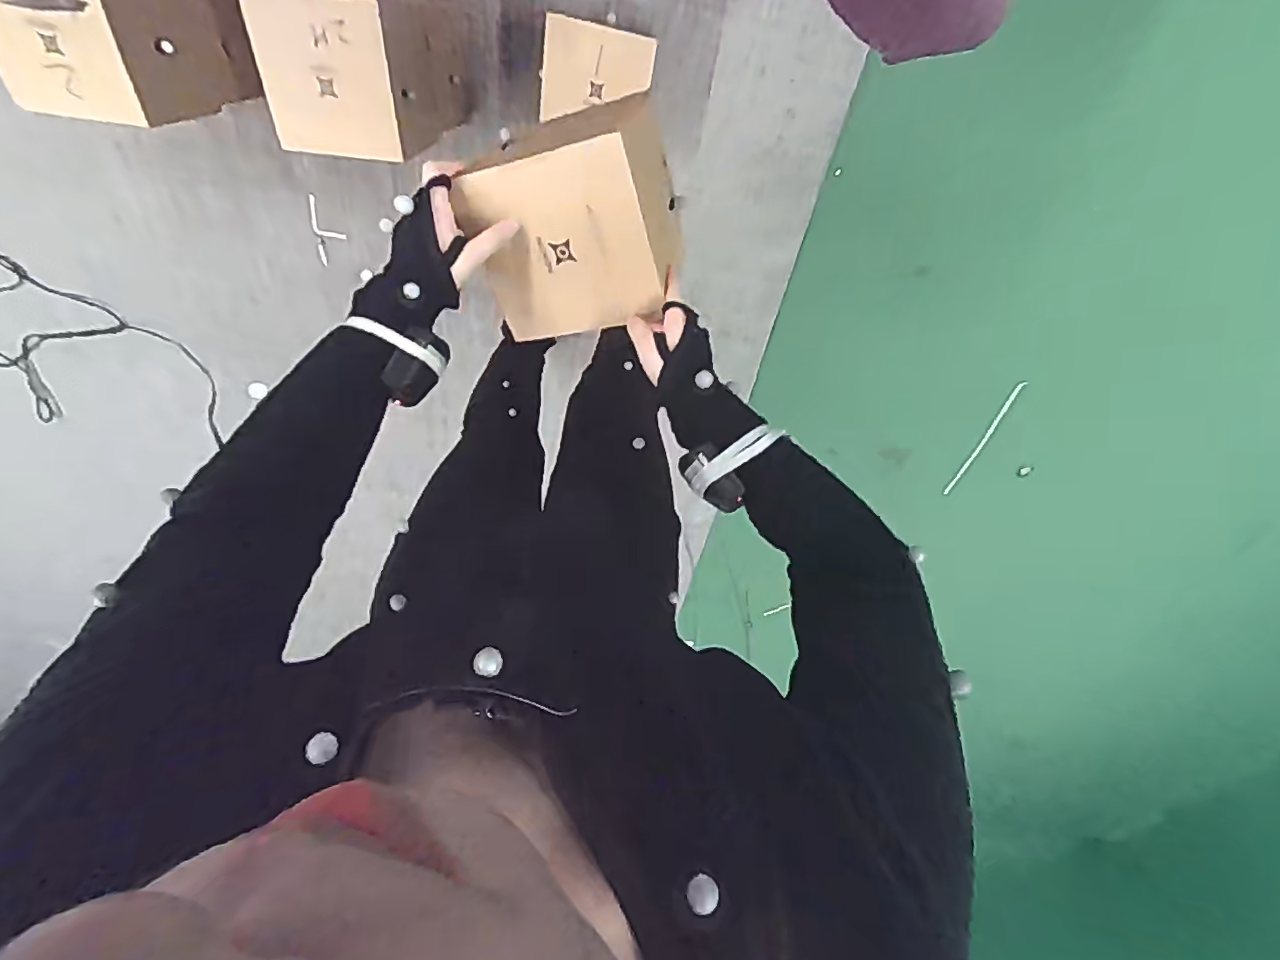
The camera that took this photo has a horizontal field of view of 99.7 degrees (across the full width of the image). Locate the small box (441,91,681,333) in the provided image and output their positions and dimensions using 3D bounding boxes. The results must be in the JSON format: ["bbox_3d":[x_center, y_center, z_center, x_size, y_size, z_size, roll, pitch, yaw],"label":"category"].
[{"bbox_3d":[-0.066,-0.280,0.572,0.179,0.176,0.168,-3,135,18],"label":"small box"}]

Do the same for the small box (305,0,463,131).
[{"bbox_3d":[-0.401,-0.686,0.876,0.179,0.176,0.168,6,130,-5],"label":"small box"}]
